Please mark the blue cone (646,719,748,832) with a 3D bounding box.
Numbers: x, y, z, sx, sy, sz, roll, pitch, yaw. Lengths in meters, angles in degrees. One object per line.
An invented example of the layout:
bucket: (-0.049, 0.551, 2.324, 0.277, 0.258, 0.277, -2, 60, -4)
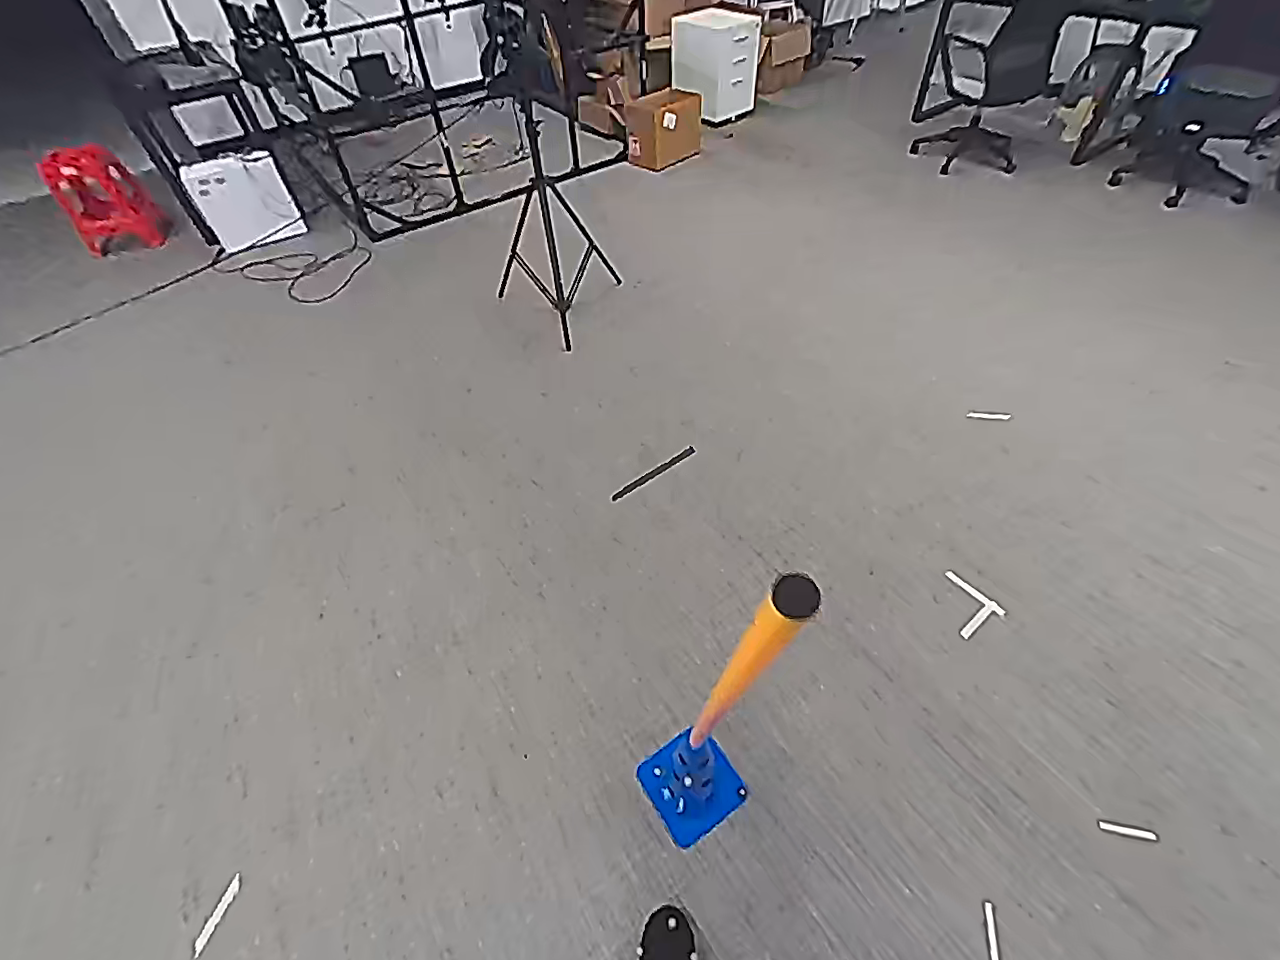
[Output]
blue cone: (0.120, 0.583, 1.136, 0.192, 0.380, 0.193, -27, 53, -19)
